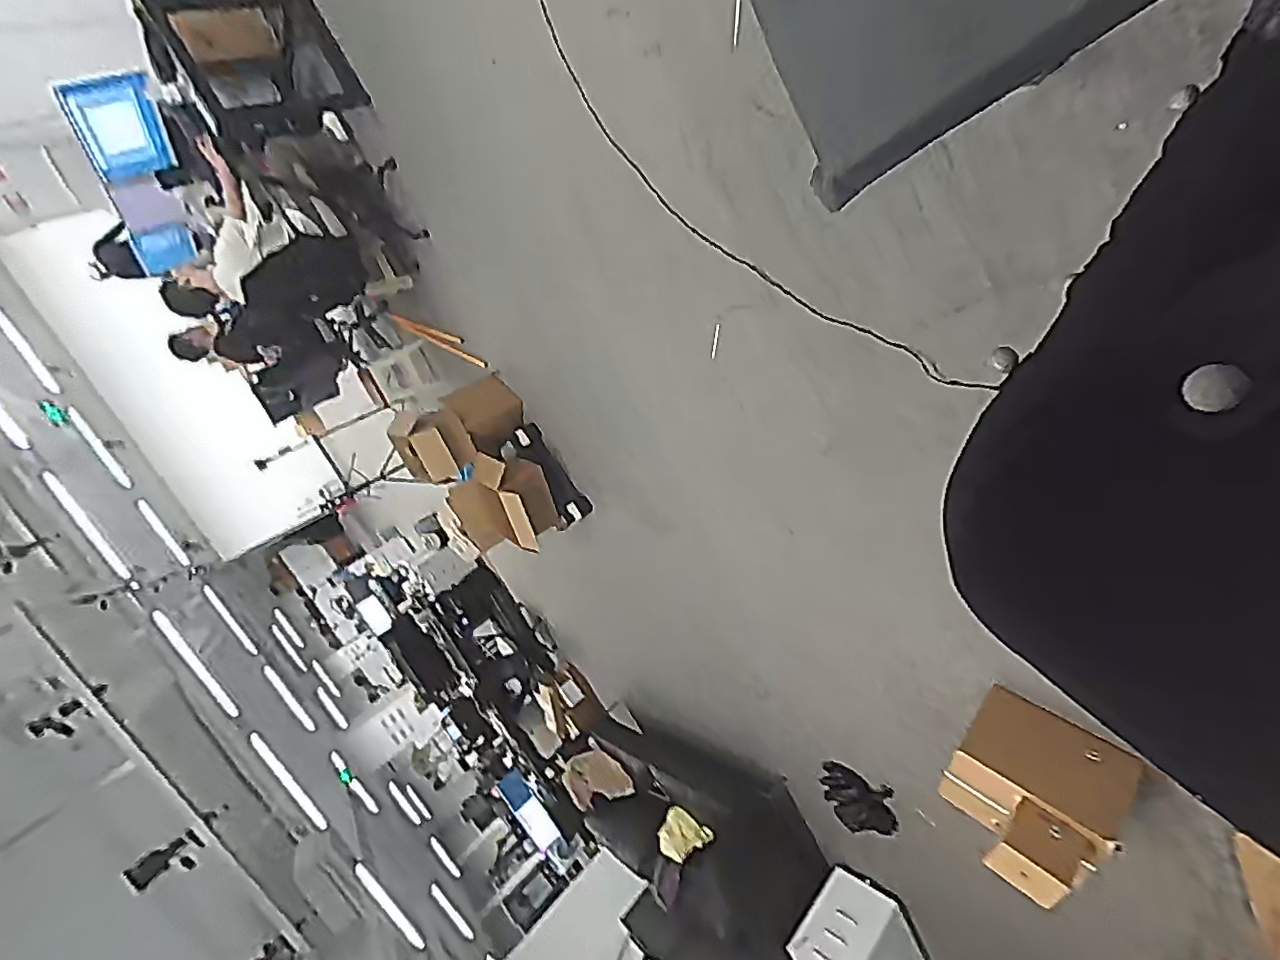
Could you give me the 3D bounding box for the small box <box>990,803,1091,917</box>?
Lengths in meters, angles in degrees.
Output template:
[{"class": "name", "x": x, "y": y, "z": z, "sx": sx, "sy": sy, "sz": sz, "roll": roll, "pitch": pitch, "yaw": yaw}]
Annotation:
[{"class": "small box", "x": 1.131, "y": 1.067, "z": 1.527, "sx": 0.168, "sy": 0.176, "sz": 0.179, "roll": 27, "pitch": 137, "yaw": 37}]
